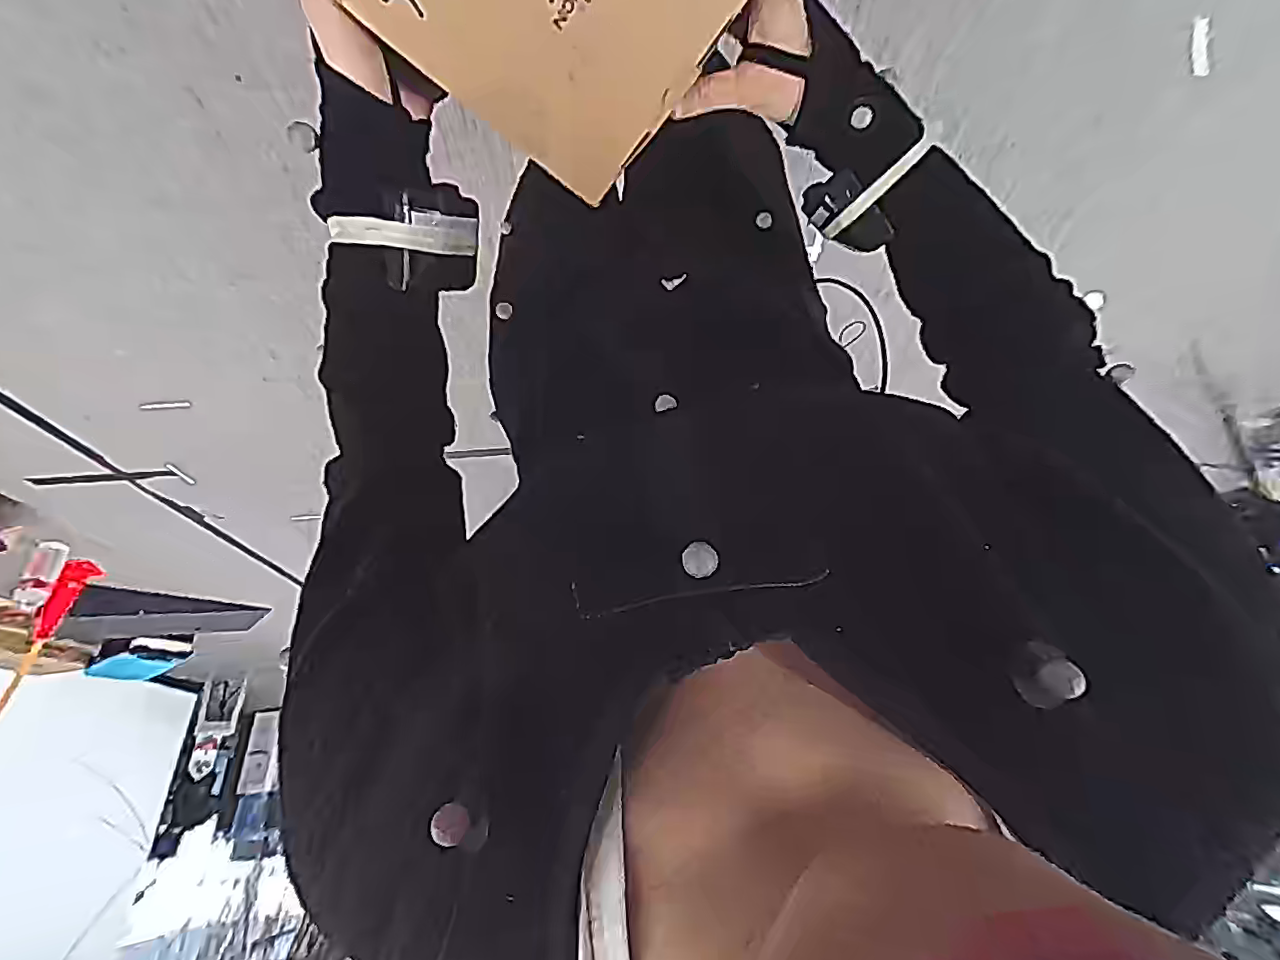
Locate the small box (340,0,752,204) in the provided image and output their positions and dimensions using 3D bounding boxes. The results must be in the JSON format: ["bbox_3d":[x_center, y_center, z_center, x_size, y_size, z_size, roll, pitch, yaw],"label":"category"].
[{"bbox_3d":[-0.058,-0.330,0.346,0.179,0.176,0.168,26,127,-36],"label":"small box"}]

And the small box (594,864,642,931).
[{"bbox_3d":[-0.089,1.602,2.085,0.168,0.176,0.179,-3,151,-6],"label":"small box"}]

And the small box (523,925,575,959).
[{"bbox_3d":[-0.331,1.754,1.971,0.179,0.176,0.168,-5,153,-4],"label":"small box"}]

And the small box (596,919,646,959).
[{"bbox_3d":[-0.071,1.741,1.997,0.179,0.176,0.168,-4,152,-7],"label":"small box"}]
